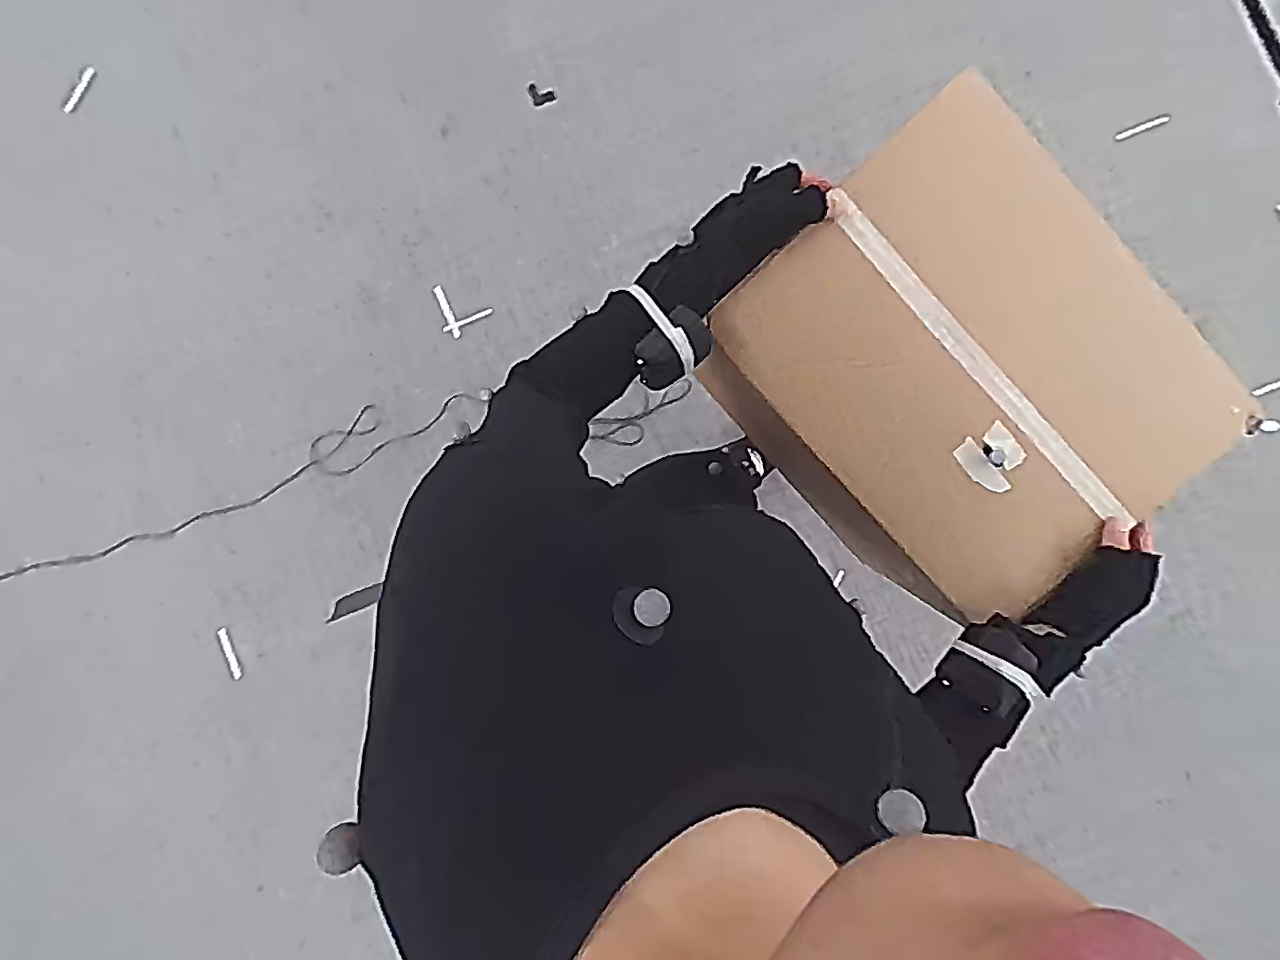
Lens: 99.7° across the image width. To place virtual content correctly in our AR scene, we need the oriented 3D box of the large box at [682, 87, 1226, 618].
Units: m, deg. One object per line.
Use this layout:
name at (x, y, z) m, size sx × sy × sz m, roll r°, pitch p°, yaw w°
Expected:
large box at (0.303, -0.123, 0.649) m, size 0.320 × 0.320 × 0.408 m, roll -42°, pitch 94°, yaw 5°
